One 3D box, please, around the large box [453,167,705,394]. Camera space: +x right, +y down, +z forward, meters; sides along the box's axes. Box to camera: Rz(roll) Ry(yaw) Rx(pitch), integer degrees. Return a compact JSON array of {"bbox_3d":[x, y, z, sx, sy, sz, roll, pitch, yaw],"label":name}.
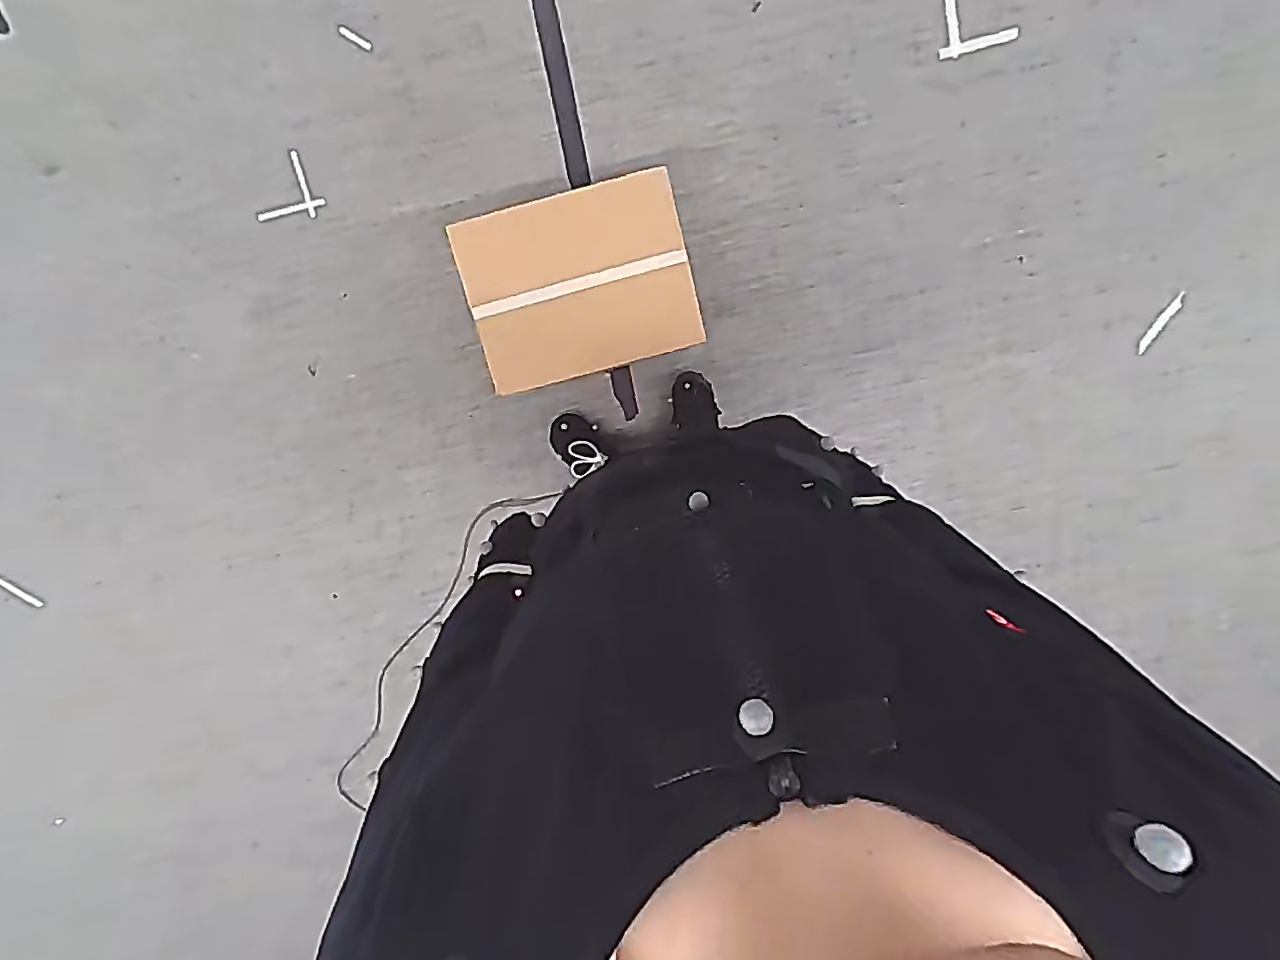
[{"bbox_3d":[-0.111,-0.387,1.134,0.408,0.320,0.320,-15,103,2],"label":"large box"}]
